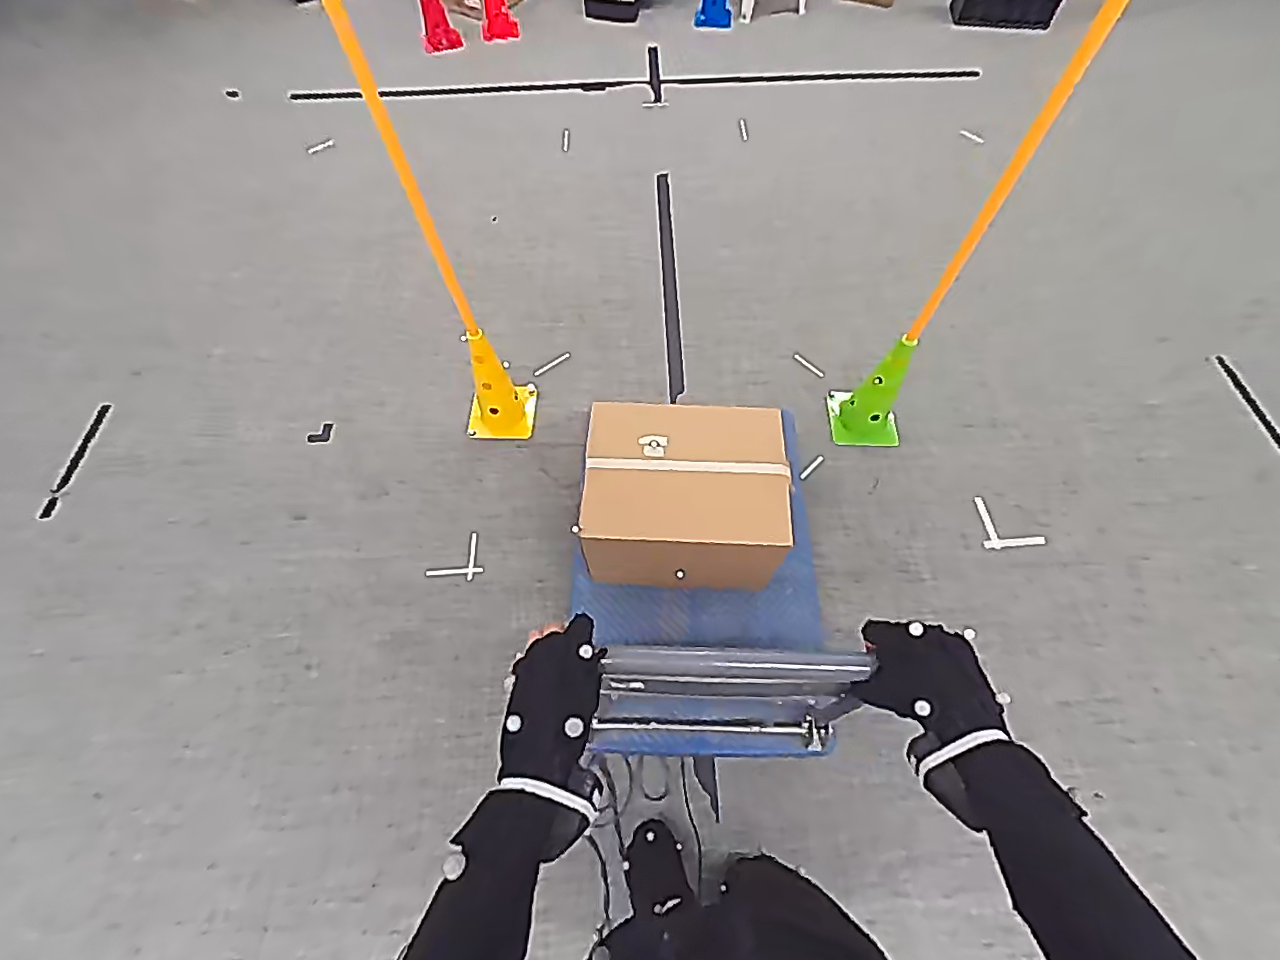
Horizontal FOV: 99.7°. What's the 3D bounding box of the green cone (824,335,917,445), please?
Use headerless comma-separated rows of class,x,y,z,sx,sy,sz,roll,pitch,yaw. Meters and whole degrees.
green cone,0.694,-0.276,1.560,0.202,0.368,0.200,2,62,0

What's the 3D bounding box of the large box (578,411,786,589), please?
large box,0.089,0.057,1.228,0.408,0.320,0.320,2,62,2
